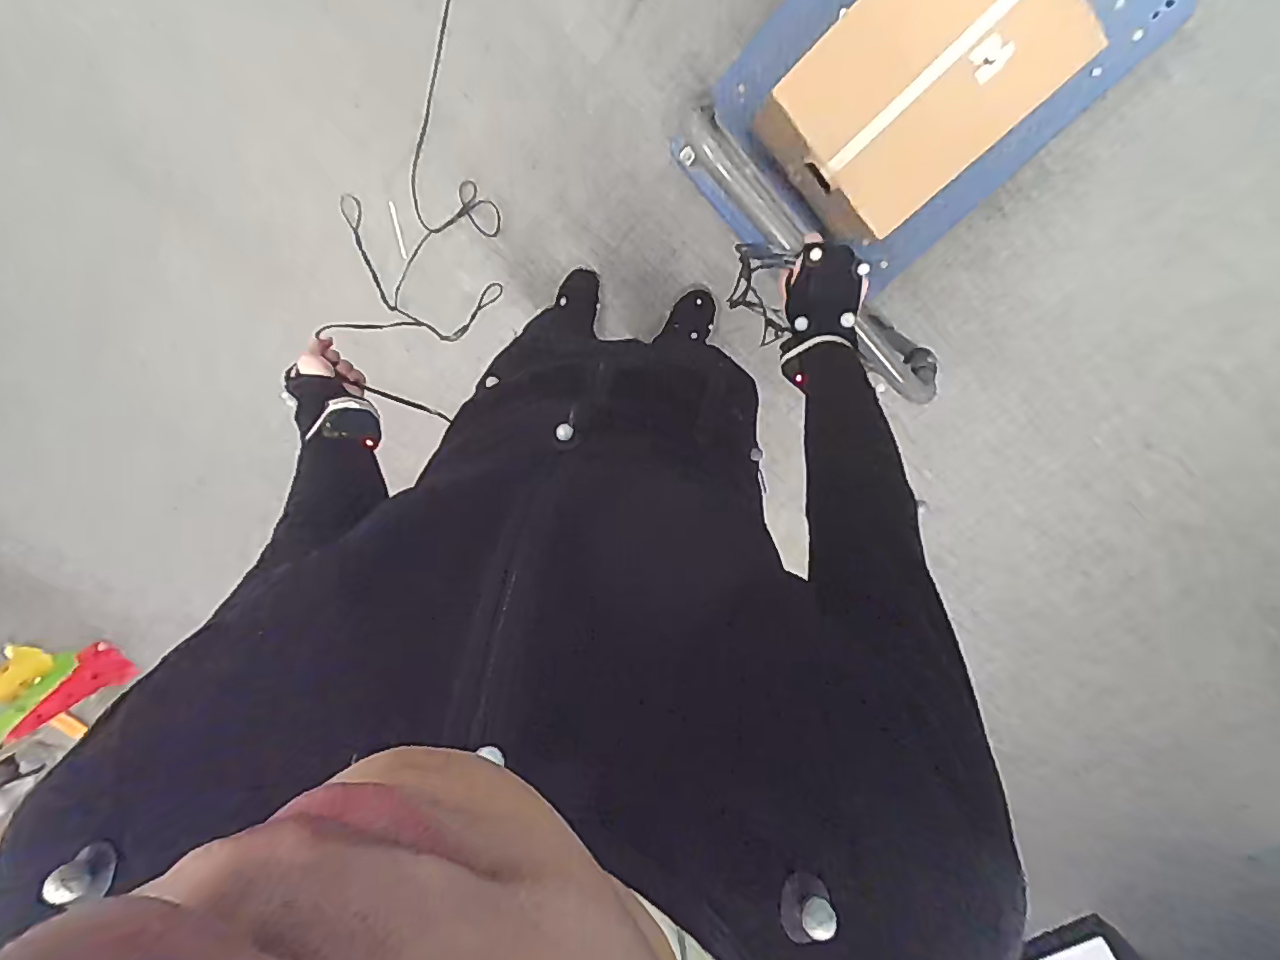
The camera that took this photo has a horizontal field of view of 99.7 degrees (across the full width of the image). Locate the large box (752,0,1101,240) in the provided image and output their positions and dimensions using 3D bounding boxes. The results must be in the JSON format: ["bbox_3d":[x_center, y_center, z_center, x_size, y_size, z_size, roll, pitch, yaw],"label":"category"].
[{"bbox_3d":[0.468,-0.703,0.984,0.408,0.320,0.320,-40,107,19],"label":"large box"}]
